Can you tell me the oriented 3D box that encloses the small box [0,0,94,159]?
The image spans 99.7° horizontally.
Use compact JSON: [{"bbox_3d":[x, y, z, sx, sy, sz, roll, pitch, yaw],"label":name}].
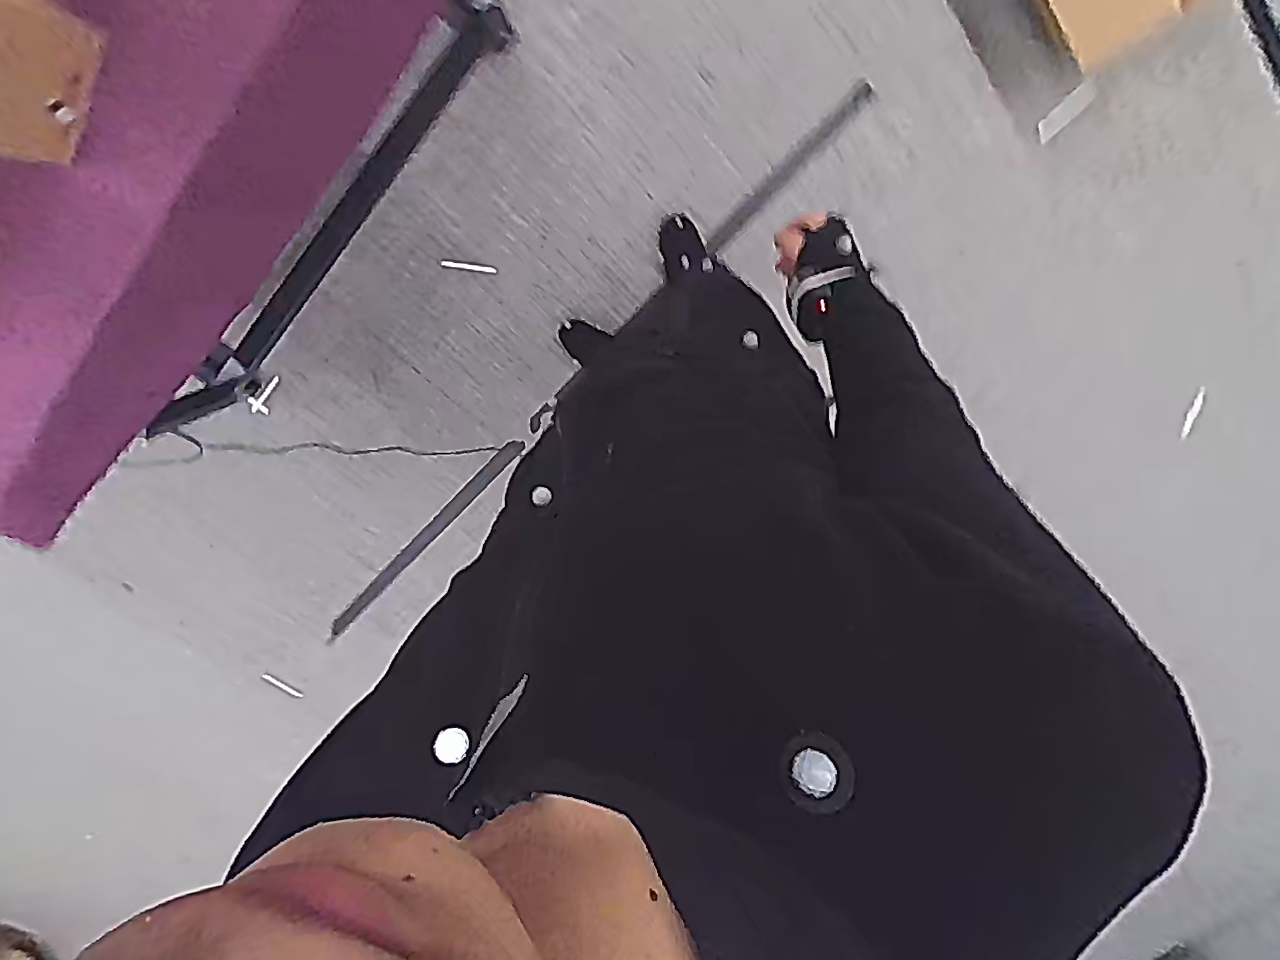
[{"bbox_3d":[-0.746,-0.464,0.560,0.179,0.176,0.168,30,110,-14],"label":"small box"}]
